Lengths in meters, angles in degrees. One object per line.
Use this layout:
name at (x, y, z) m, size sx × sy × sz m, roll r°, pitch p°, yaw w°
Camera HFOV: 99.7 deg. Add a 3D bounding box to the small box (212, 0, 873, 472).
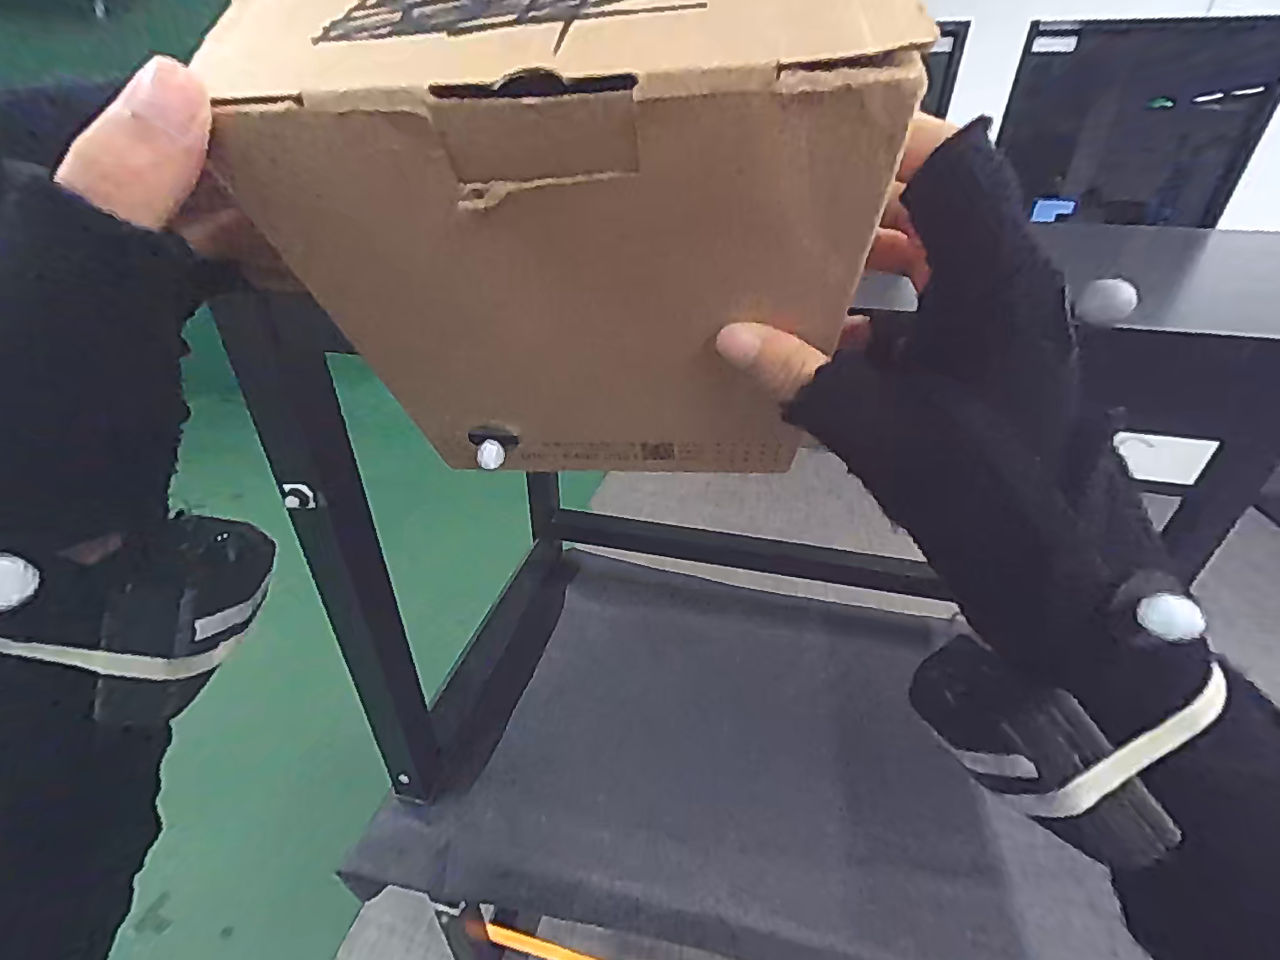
small box at (-0.016, -0.115, 0.236) m, size 0.168 × 0.176 × 0.179 m, roll 1°, pitch 61°, yaw 5°
